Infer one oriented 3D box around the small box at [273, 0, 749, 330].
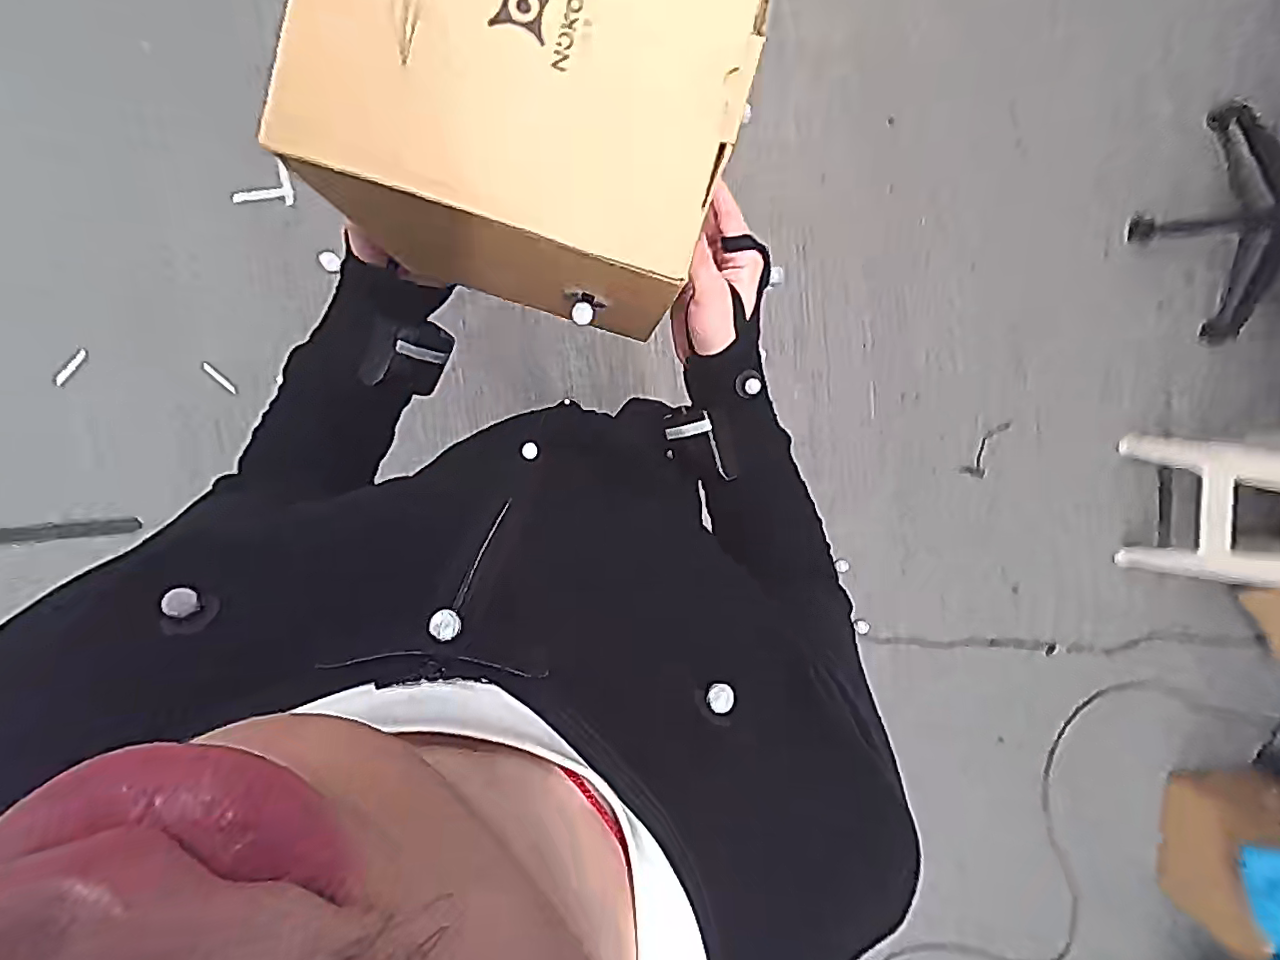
[{"bbox_3d":[-0.055,-0.193,0.304,0.179,0.176,0.168,13,94,-5],"label":"small box"}]
